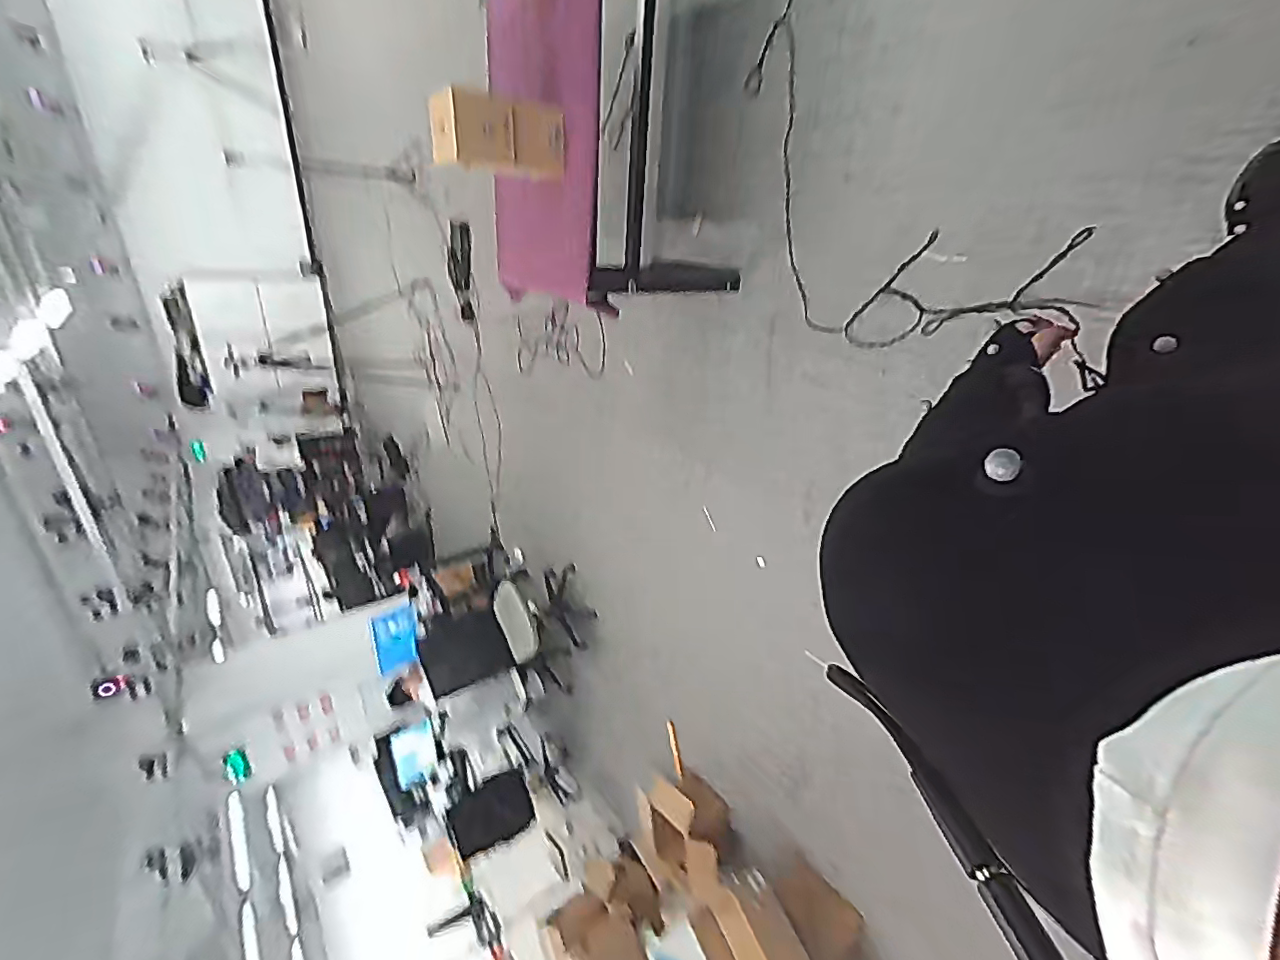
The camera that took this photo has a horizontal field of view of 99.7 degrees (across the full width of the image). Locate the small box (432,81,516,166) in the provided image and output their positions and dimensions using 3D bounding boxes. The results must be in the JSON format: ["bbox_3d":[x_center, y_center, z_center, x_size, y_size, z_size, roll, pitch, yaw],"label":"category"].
[{"bbox_3d":[-0.447,-0.964,1.474,0.179,0.176,0.168,30,125,45],"label":"small box"}]
